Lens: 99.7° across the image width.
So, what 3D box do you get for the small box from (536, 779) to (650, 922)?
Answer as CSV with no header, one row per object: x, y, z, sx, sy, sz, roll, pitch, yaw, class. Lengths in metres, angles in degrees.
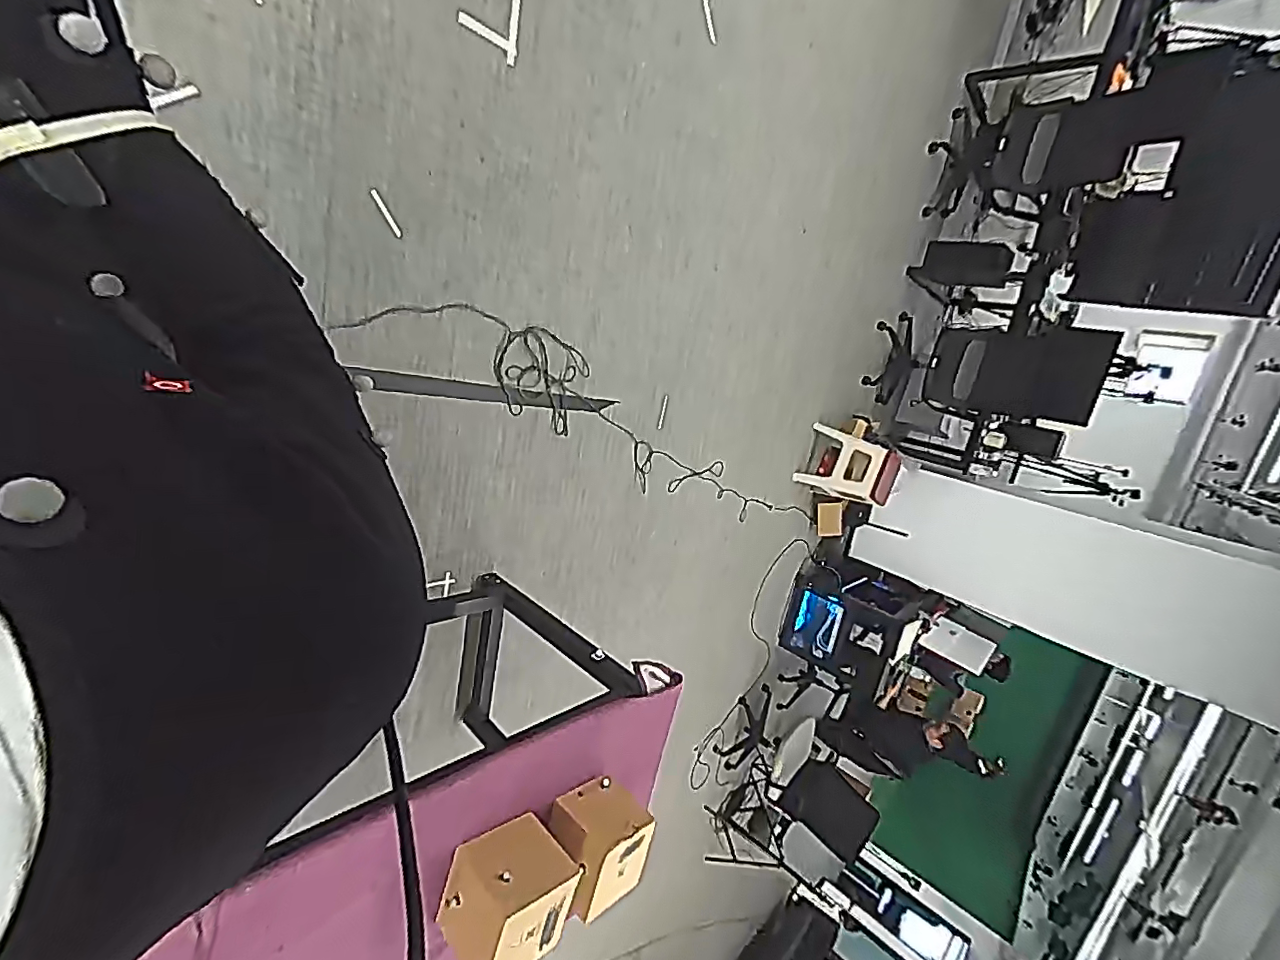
-0.108,0.801,1.199,0.168,0.176,0.179,6,103,-50,small box
